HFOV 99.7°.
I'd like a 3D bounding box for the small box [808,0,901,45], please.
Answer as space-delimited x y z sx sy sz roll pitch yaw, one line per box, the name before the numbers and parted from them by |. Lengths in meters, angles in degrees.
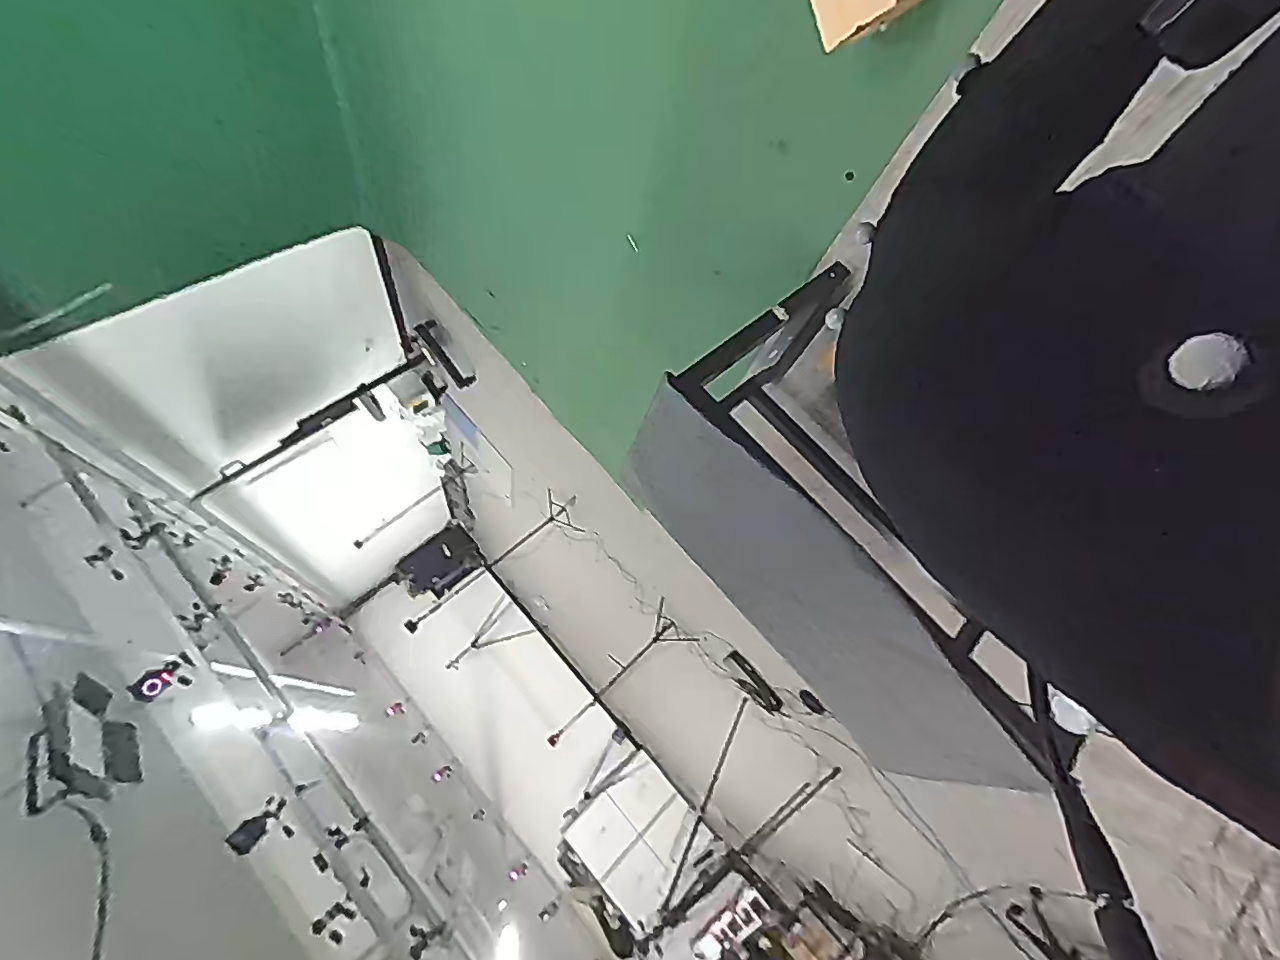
small box | 0.448 -1.029 1.079 0.168 0.176 0.179 9 133 55
